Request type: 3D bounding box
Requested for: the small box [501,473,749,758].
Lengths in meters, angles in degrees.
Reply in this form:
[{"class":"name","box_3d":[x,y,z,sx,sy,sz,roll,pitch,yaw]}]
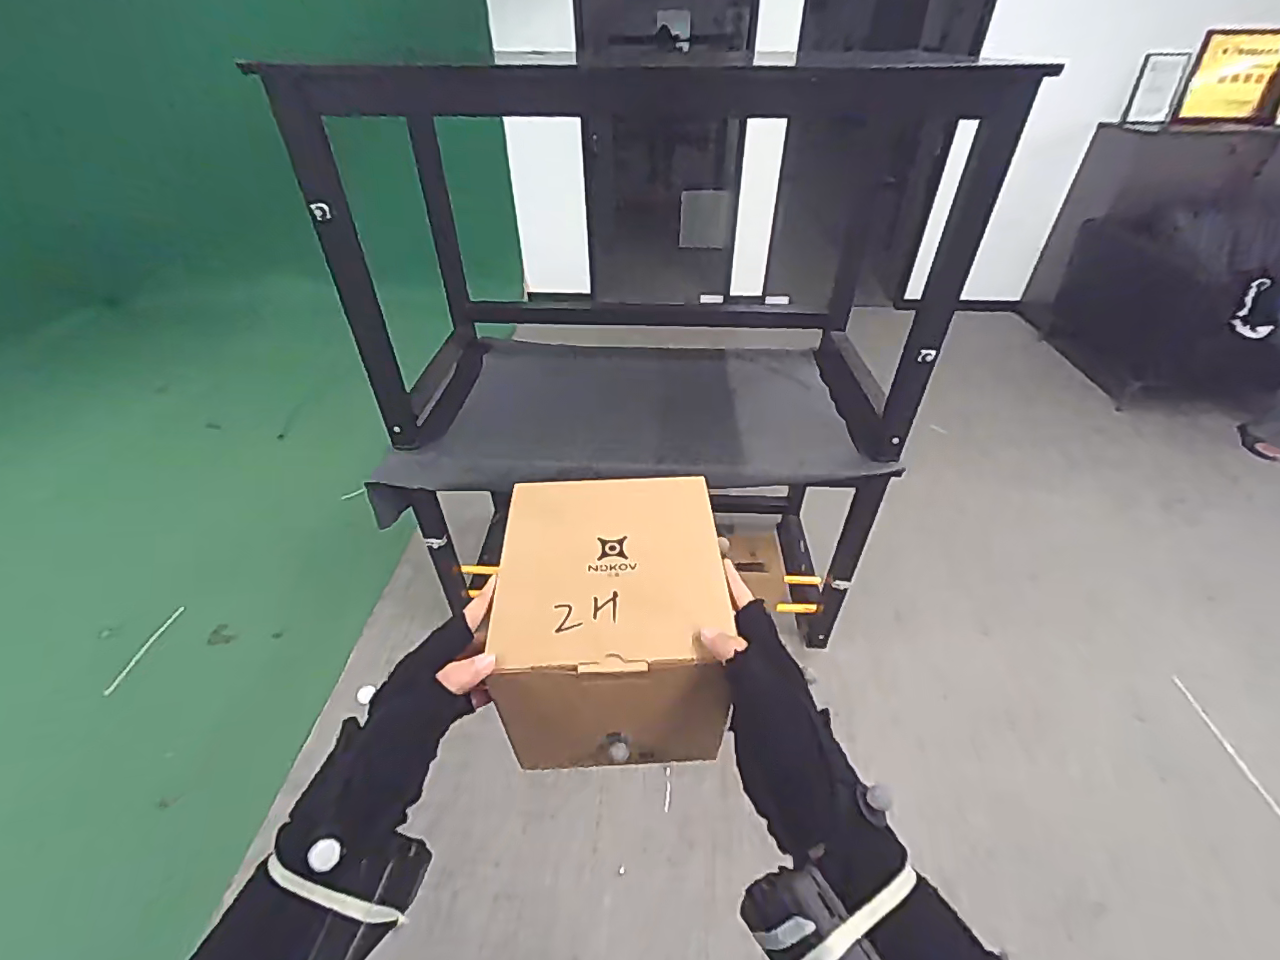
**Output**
[{"class":"small box","box_3d":[-0.012,0.113,0.466,0.168,0.176,0.179,-2,42,-1]}]
